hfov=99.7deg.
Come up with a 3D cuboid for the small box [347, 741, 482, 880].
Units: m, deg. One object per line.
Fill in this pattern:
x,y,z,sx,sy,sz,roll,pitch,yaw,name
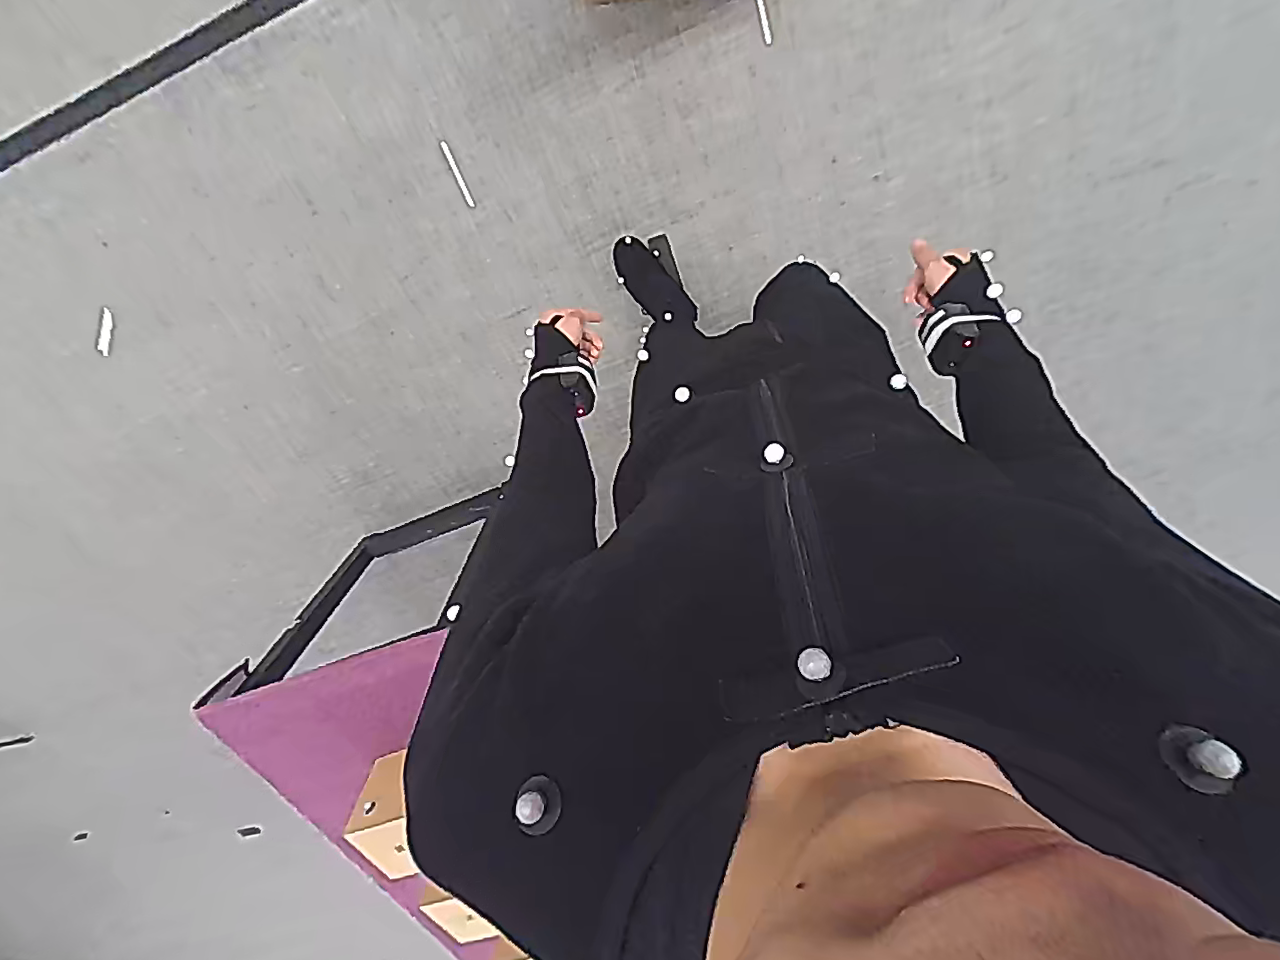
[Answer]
-0.459,0.685,1.131,0.179,0.176,0.168,-22,115,9,small box
